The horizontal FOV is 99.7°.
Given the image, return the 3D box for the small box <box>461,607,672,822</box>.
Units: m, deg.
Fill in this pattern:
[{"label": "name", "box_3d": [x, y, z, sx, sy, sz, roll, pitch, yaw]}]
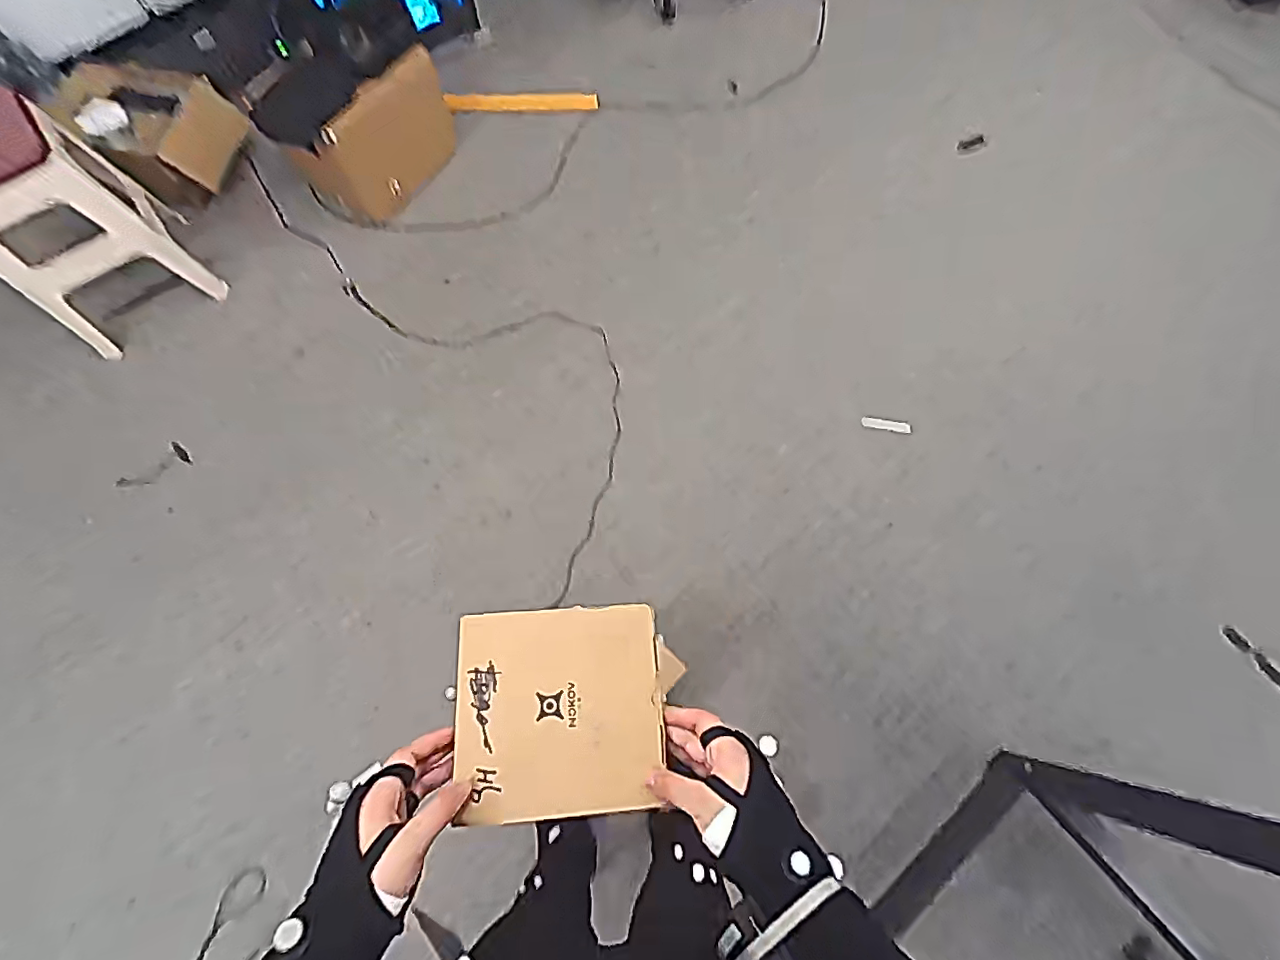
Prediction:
[{"label": "small box", "box_3d": [-0.073, 0.229, 0.548, 0.179, 0.176, 0.168, -3, 67, -7]}]
